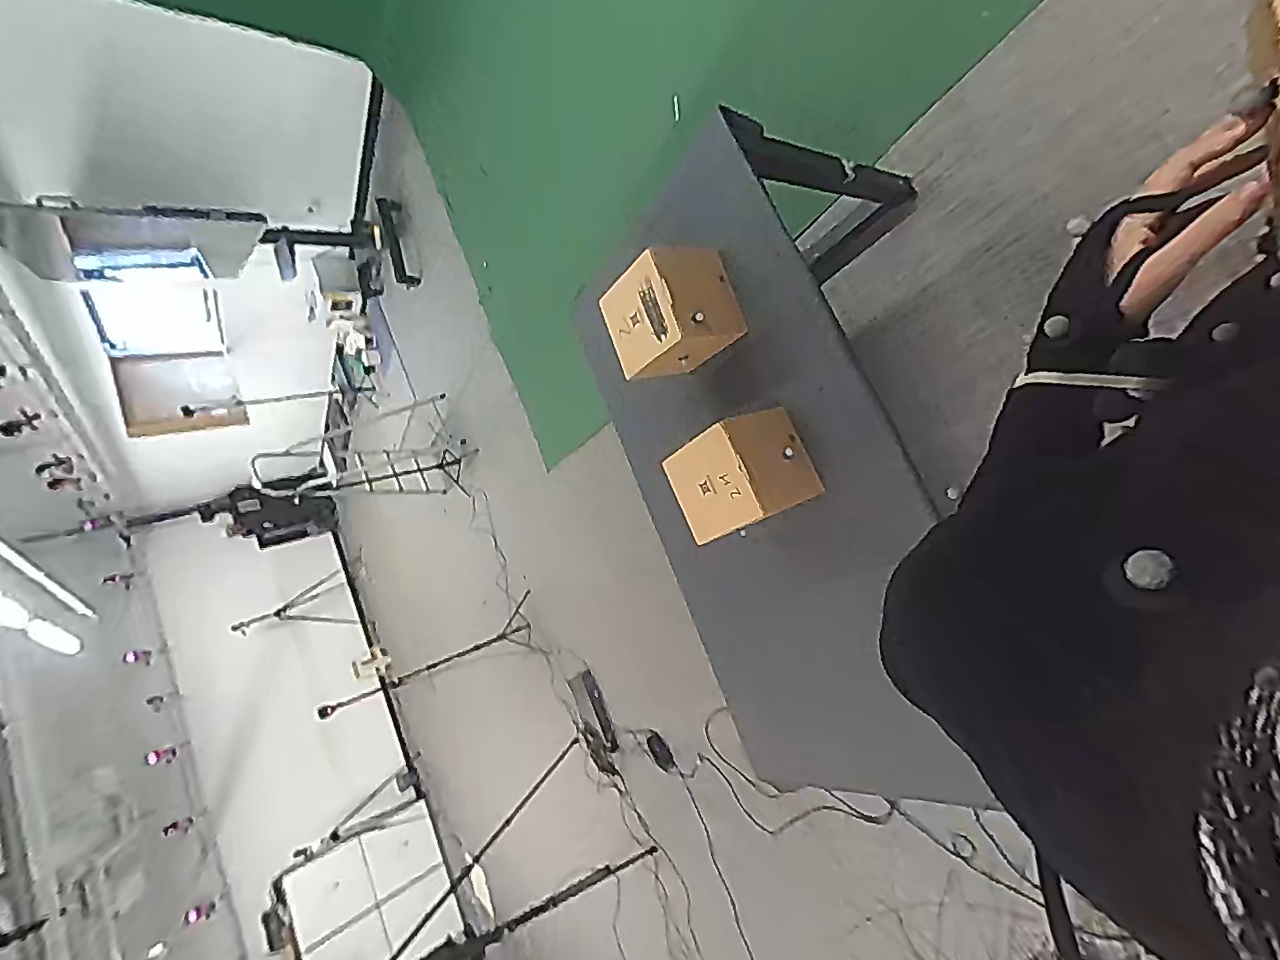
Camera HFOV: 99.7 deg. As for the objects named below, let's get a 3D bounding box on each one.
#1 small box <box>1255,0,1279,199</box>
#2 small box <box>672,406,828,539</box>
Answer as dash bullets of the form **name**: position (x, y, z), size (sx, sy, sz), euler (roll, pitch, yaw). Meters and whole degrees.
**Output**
- **small box**: position (0.446, -0.236, 0.273), size (0.168, 0.176, 0.179), euler (-9, 96, 49)
- **small box**: position (0.193, -0.014, 0.955), size (0.179, 0.176, 0.168), euler (-36, 75, 52)
